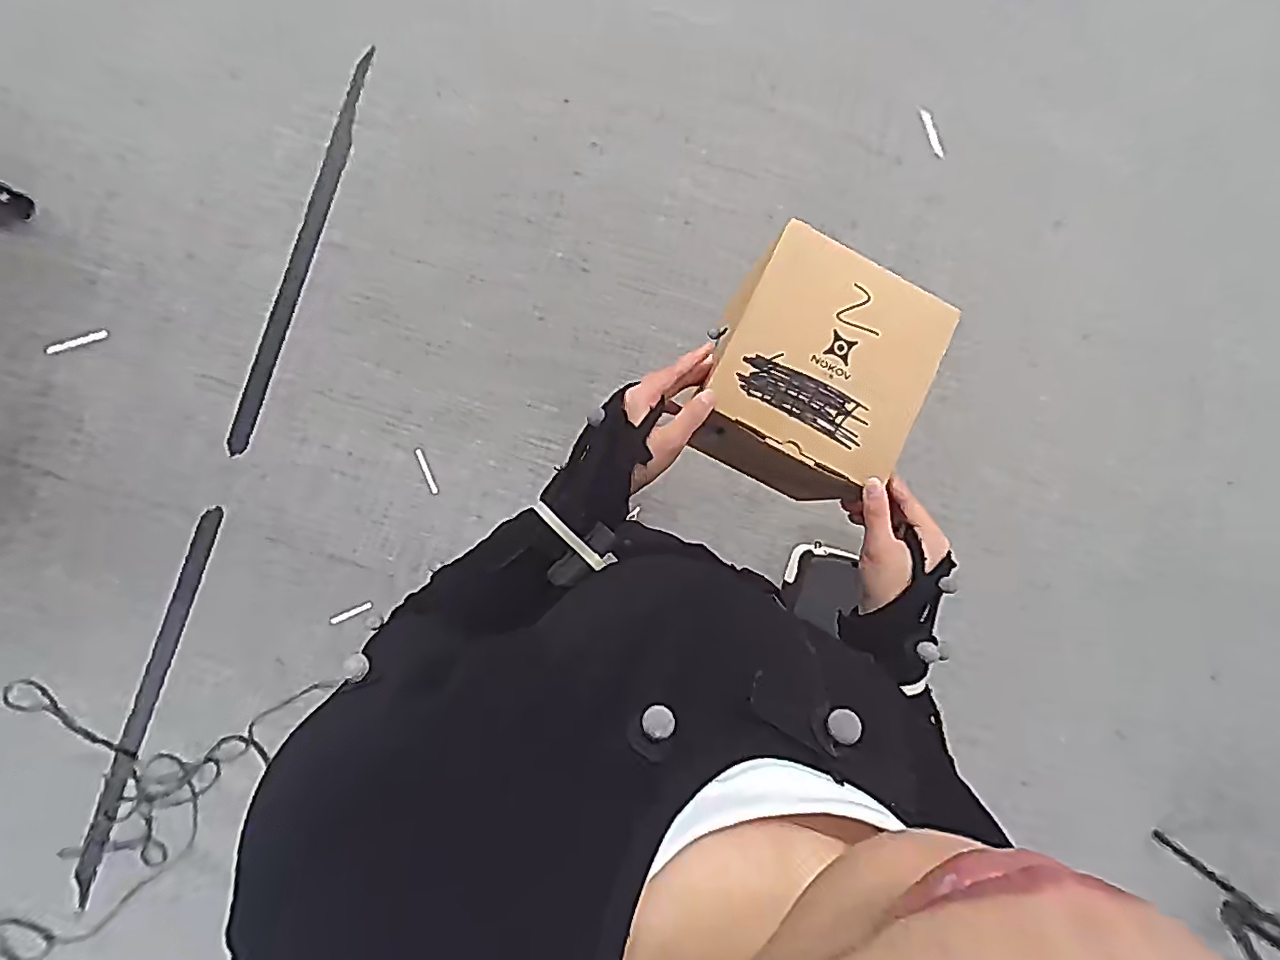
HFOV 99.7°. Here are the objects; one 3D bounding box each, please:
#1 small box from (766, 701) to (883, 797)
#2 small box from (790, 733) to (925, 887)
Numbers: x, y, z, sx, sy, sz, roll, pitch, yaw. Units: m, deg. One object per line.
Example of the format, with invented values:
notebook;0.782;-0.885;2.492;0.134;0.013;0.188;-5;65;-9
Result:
small box;0.417;0.641;1.256;0.179;0.176;0.168;22;90;-5
small box;0.425;0.654;1.093;0.168;0.176;0.179;25;88;-4
